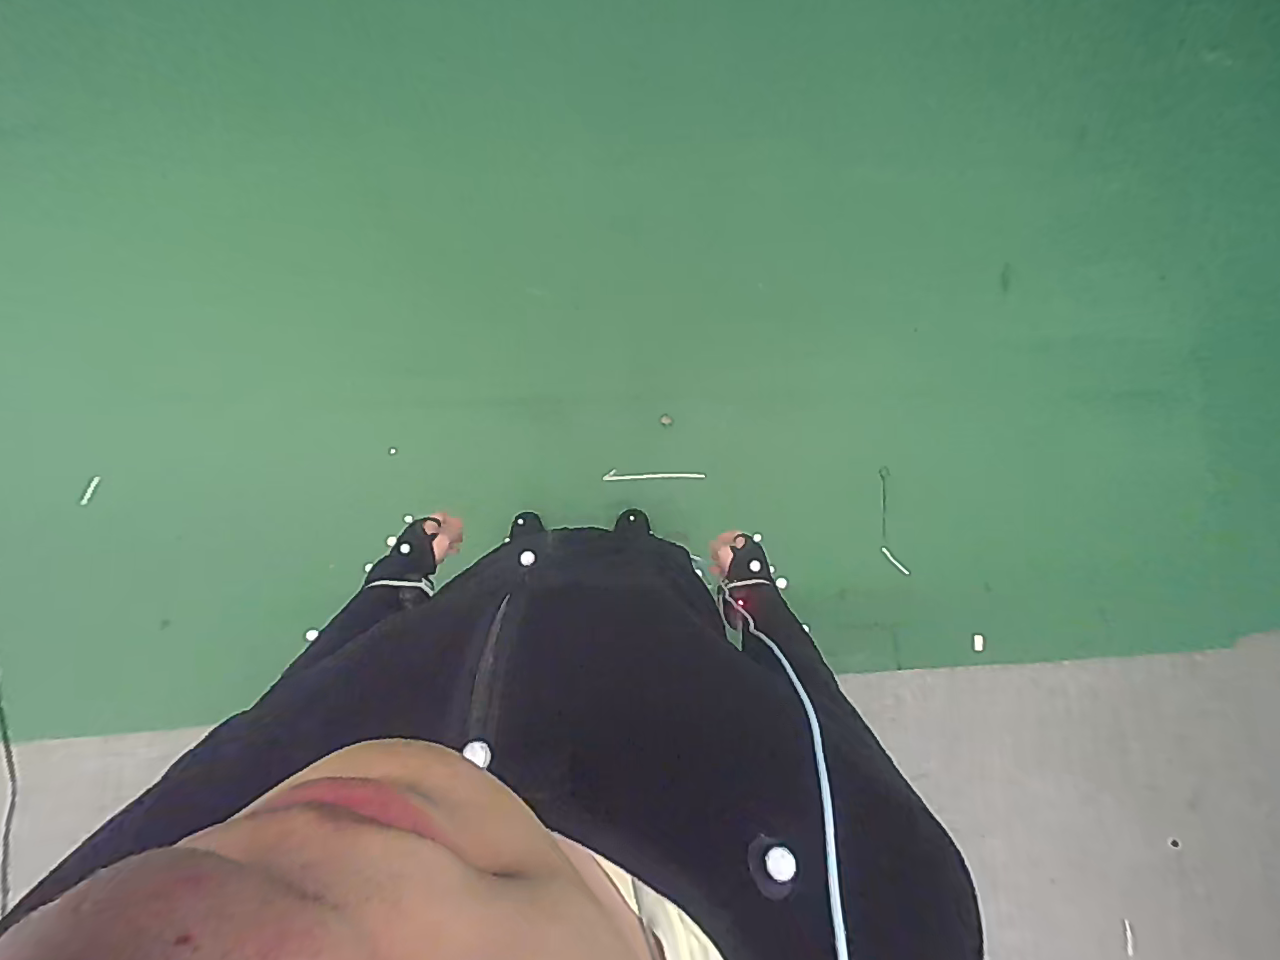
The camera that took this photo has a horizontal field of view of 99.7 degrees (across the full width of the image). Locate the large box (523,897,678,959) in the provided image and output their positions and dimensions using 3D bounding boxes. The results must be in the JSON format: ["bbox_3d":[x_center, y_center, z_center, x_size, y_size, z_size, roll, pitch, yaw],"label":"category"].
[{"bbox_3d":[-0.096,1.393,1.434,0.408,0.320,0.320,-4,87,-6],"label":"large box"}]
